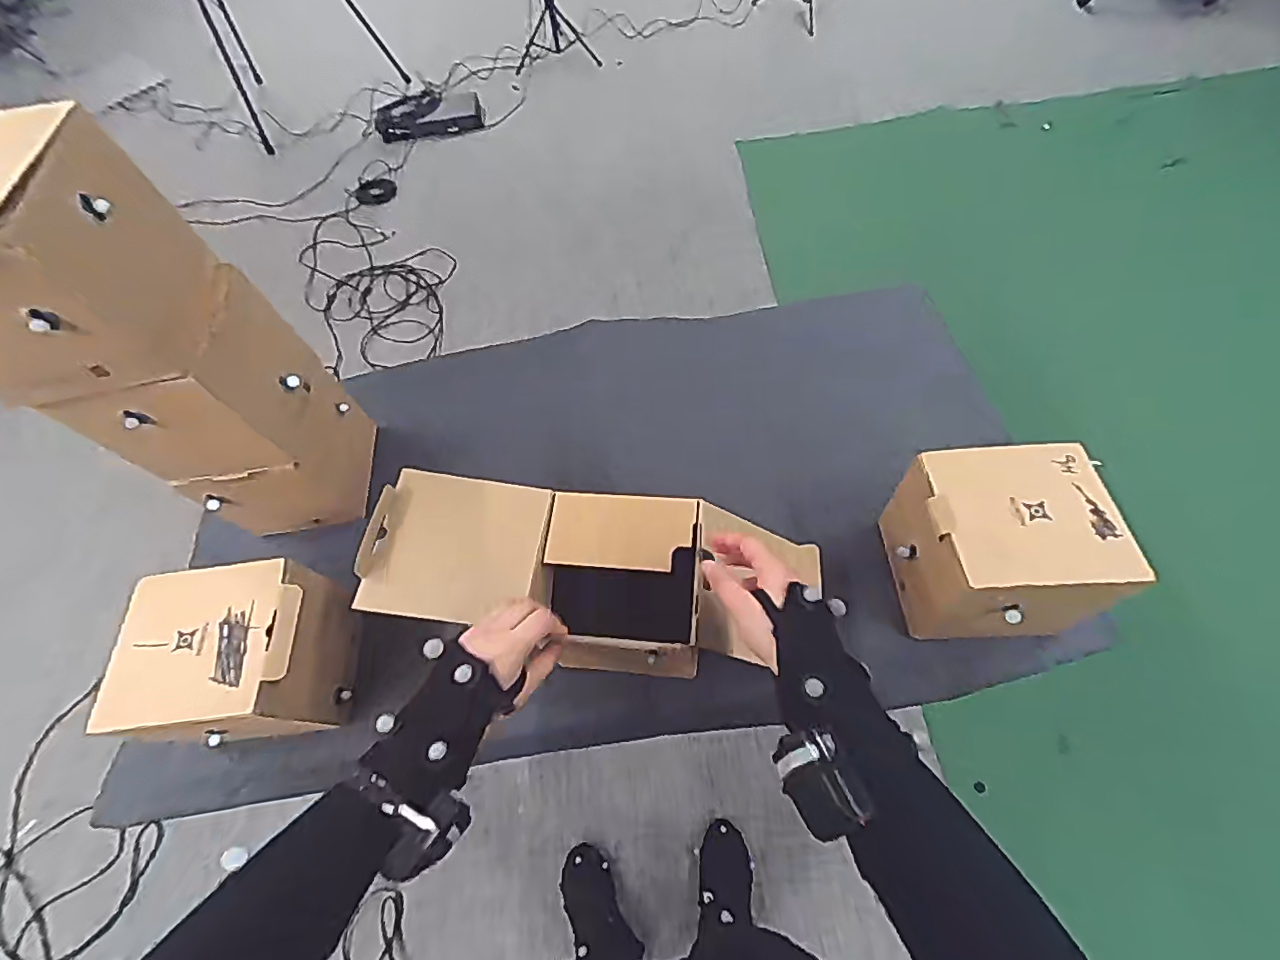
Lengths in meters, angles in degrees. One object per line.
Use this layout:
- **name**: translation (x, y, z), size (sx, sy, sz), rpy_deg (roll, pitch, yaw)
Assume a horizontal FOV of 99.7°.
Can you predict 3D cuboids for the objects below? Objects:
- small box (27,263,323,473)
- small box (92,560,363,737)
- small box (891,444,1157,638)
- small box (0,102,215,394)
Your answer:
- **small box**: translation (-0.515, -0.121, 0.633), size (0.179, 0.176, 0.168), rpy_deg (-8, 63, 1)
- **small box**: translation (-0.460, 0.206, 0.642), size (0.179, 0.176, 0.168), rpy_deg (-7, 62, 2)
- **small box**: translation (0.407, 0.078, 0.620), size (0.179, 0.176, 0.168), rpy_deg (-3, 57, 5)
- **small box**: translation (-0.535, -0.195, 0.490), size (0.168, 0.176, 0.179), rpy_deg (-11, 61, -2)
